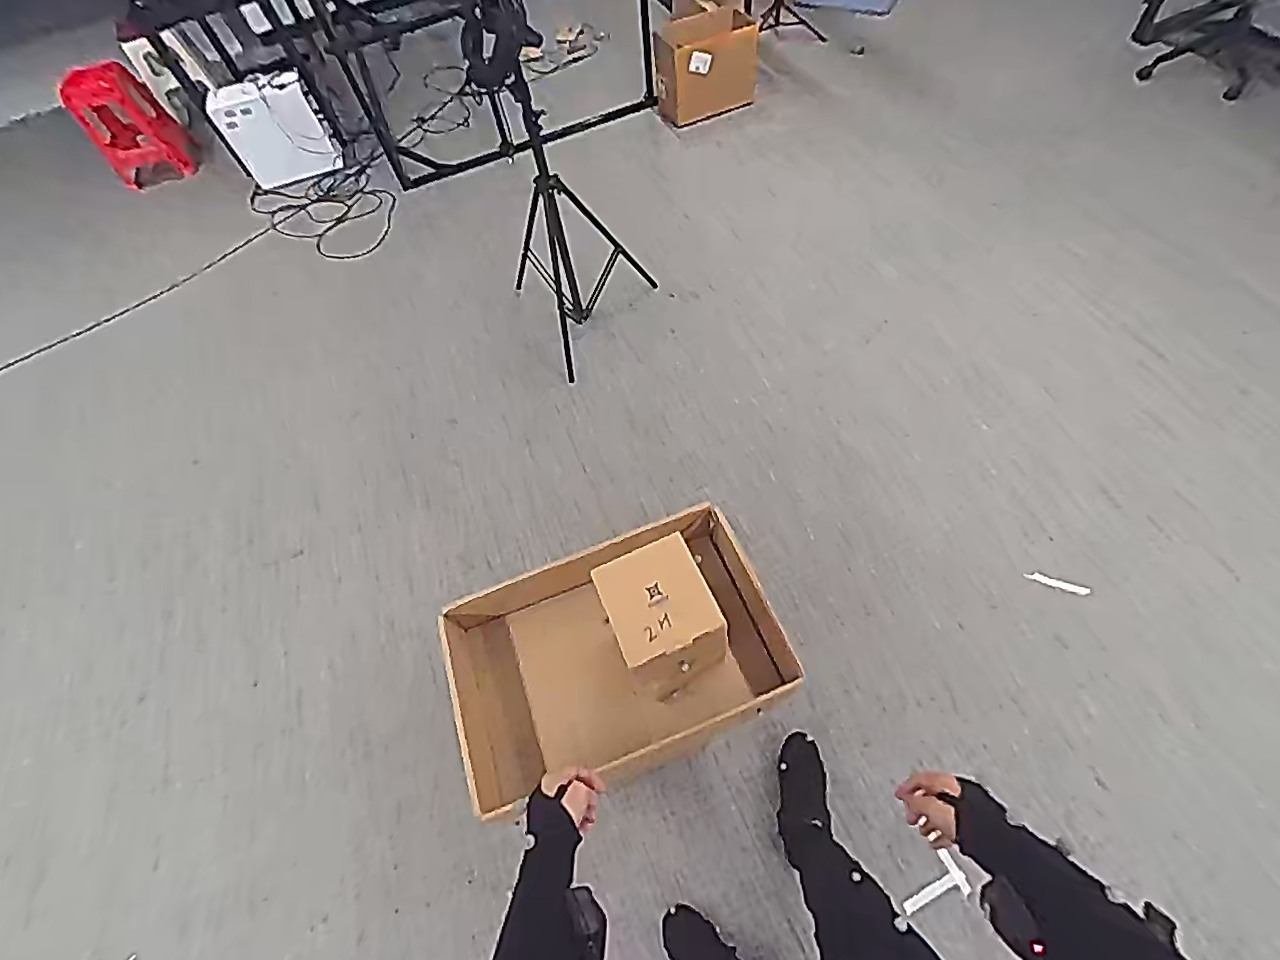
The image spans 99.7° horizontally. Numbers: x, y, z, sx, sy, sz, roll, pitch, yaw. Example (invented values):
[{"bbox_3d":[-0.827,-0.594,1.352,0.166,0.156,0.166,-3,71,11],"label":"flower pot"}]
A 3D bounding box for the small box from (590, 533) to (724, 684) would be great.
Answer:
[{"bbox_3d":[0.030,0.225,0.927,0.168,0.176,0.179,-24,61,-6],"label":"small box"}]
